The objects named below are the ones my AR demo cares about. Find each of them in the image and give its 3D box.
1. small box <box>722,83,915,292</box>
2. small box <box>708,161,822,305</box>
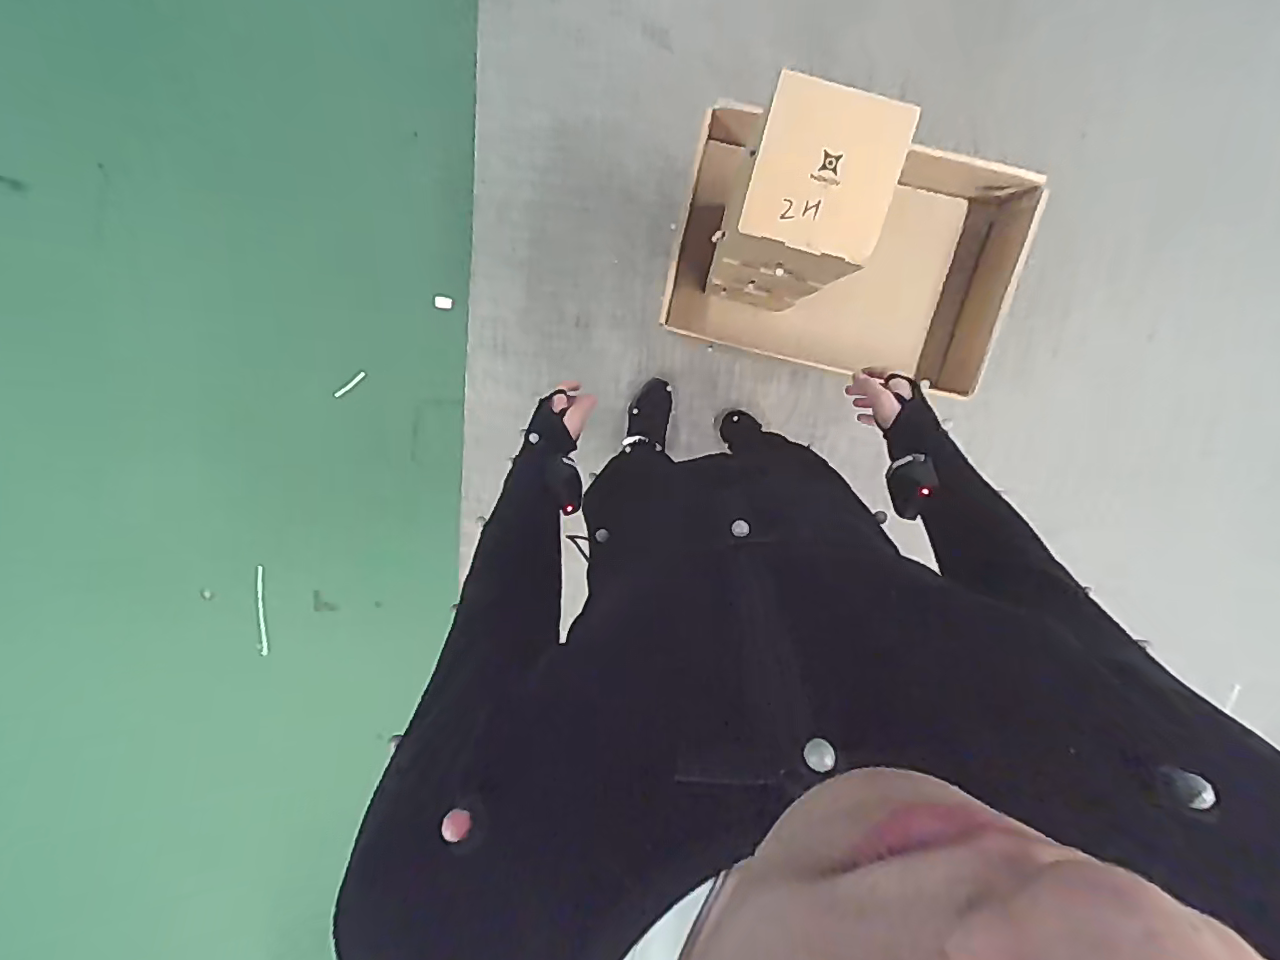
[{"bbox_3d":[0.214,-0.361,0.705,0.168,0.176,0.179,15,103,-2],"label":"small box"},{"bbox_3d":[0.215,-0.394,0.867,0.168,0.176,0.179,14,103,-3],"label":"small box"}]
